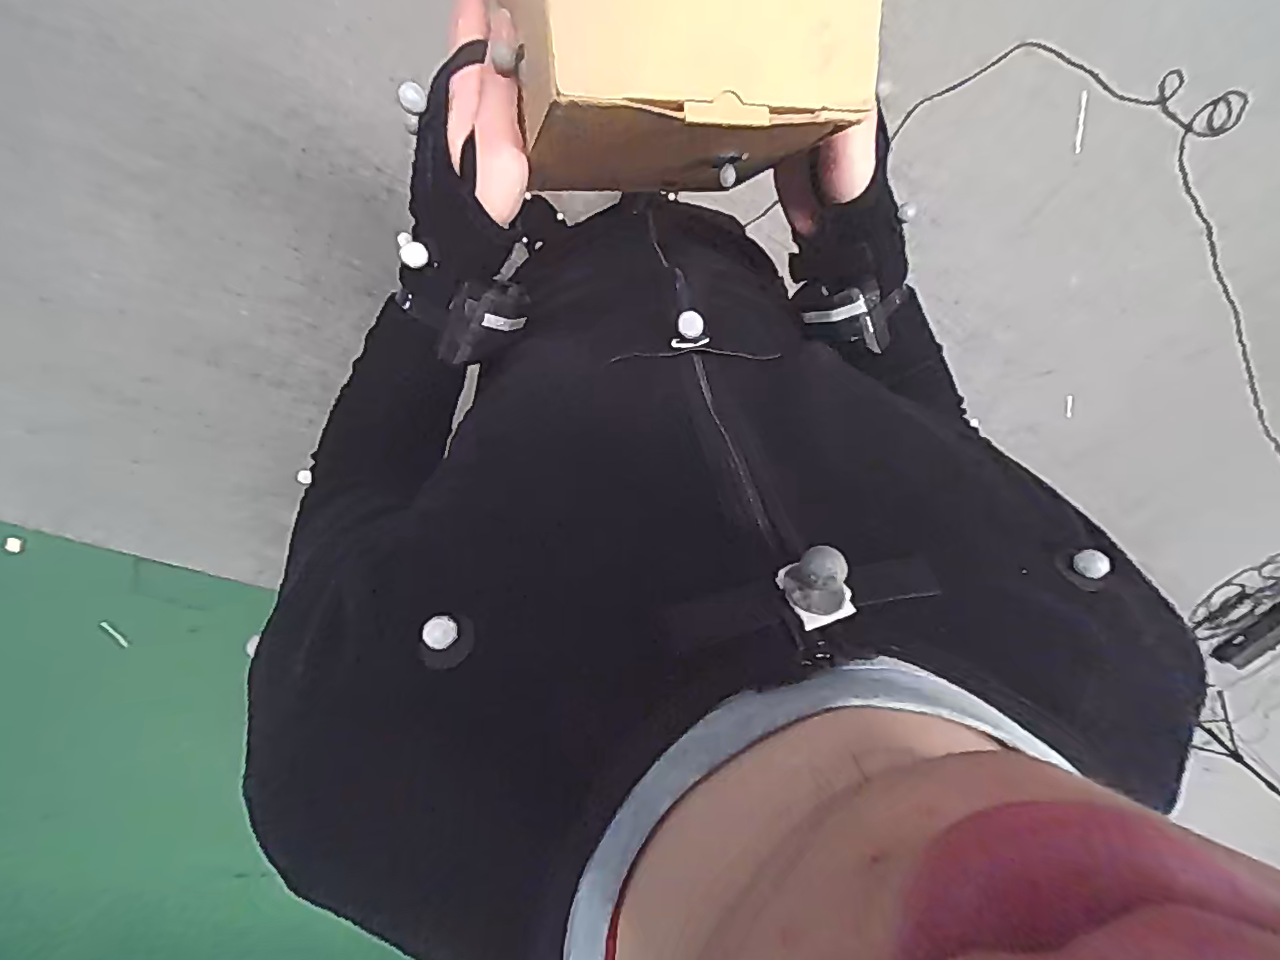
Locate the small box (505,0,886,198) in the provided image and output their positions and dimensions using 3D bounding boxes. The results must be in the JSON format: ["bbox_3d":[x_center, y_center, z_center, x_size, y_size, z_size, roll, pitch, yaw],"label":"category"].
[{"bbox_3d":[0.016,-0.272,0.308,0.168,0.176,0.179,-9,106,-17],"label":"small box"}]
